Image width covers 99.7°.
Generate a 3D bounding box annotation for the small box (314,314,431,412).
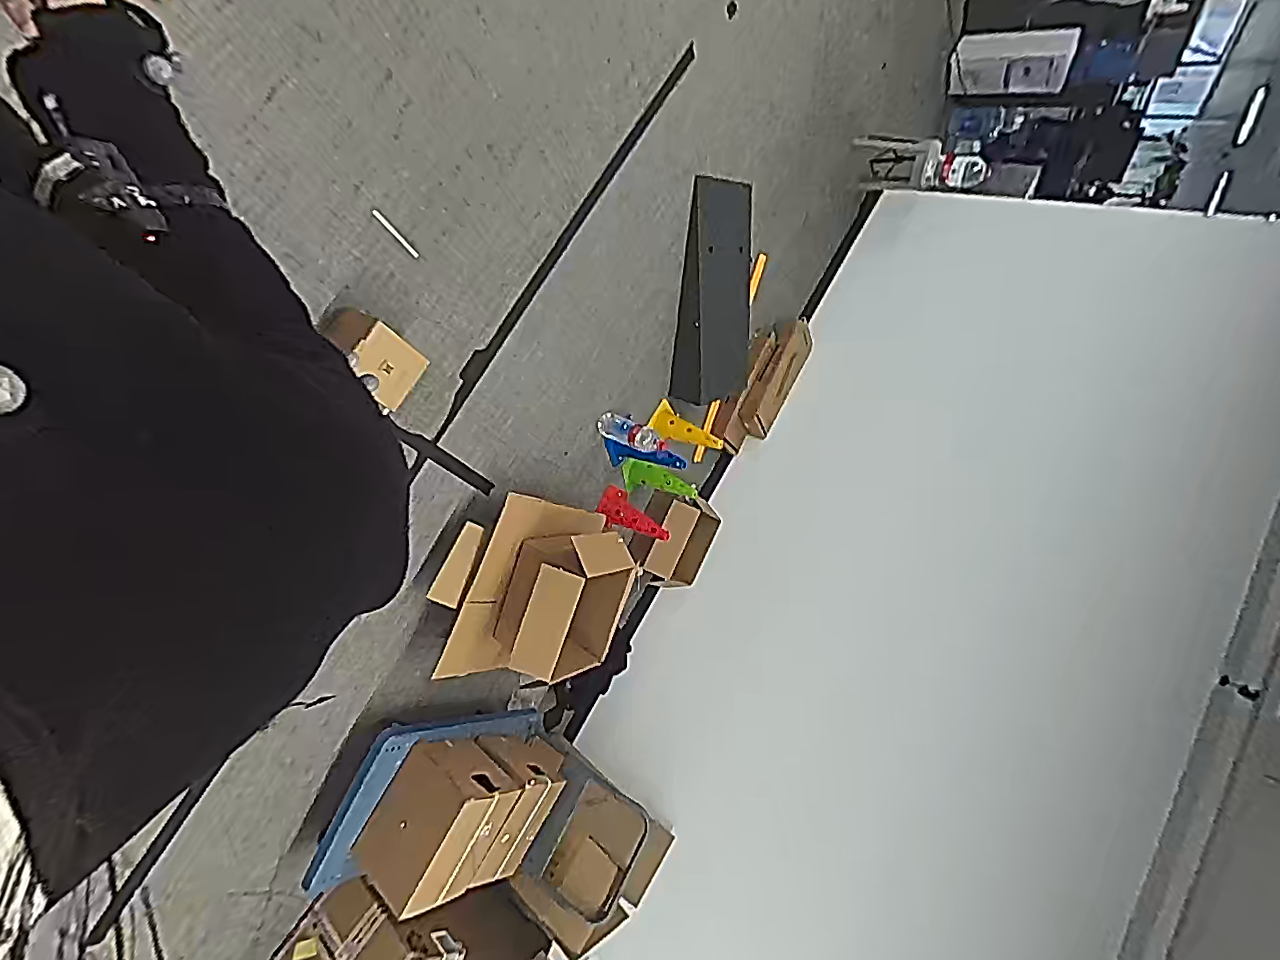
[{"bbox_3d":[-0.689,-0.306,1.388,0.168,0.176,0.179,-59,149,-9],"label":"small box"}]
